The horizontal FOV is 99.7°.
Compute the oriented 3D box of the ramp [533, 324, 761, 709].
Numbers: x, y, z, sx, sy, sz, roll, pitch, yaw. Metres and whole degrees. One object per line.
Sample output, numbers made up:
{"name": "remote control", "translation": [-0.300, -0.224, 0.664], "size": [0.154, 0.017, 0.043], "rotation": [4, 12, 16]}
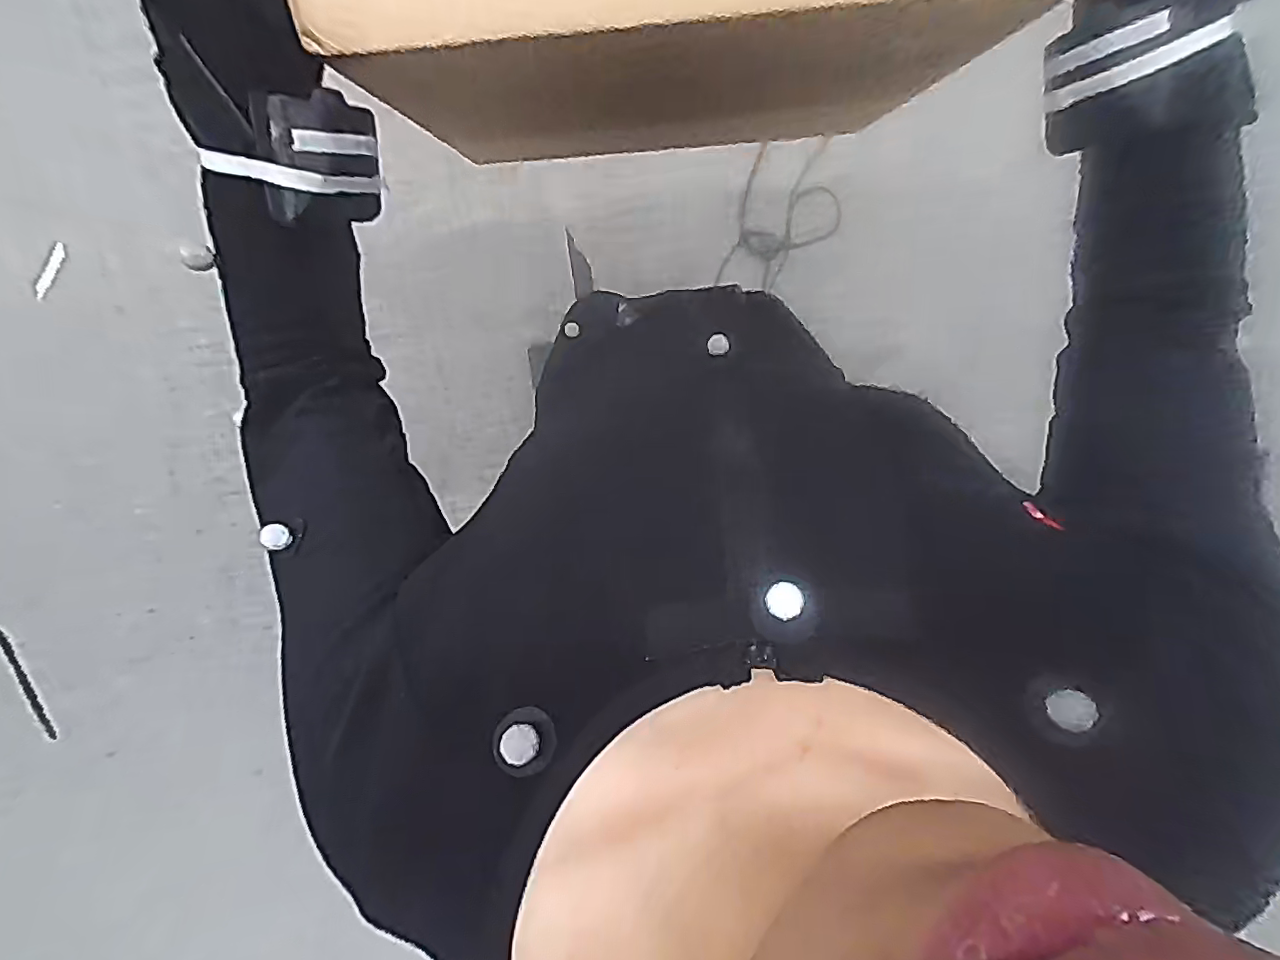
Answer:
{"name": "ramp", "translation": [0.023, 0.114, 1.463], "size": [0.509, 0.206, 0.991], "rotation": [-9, 105, 2]}

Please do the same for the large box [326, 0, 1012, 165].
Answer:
{"name": "large box", "translation": [0.014, -0.442, 0.374], "size": [0.408, 0.320, 0.320], "rotation": [-5, 111, 1]}
